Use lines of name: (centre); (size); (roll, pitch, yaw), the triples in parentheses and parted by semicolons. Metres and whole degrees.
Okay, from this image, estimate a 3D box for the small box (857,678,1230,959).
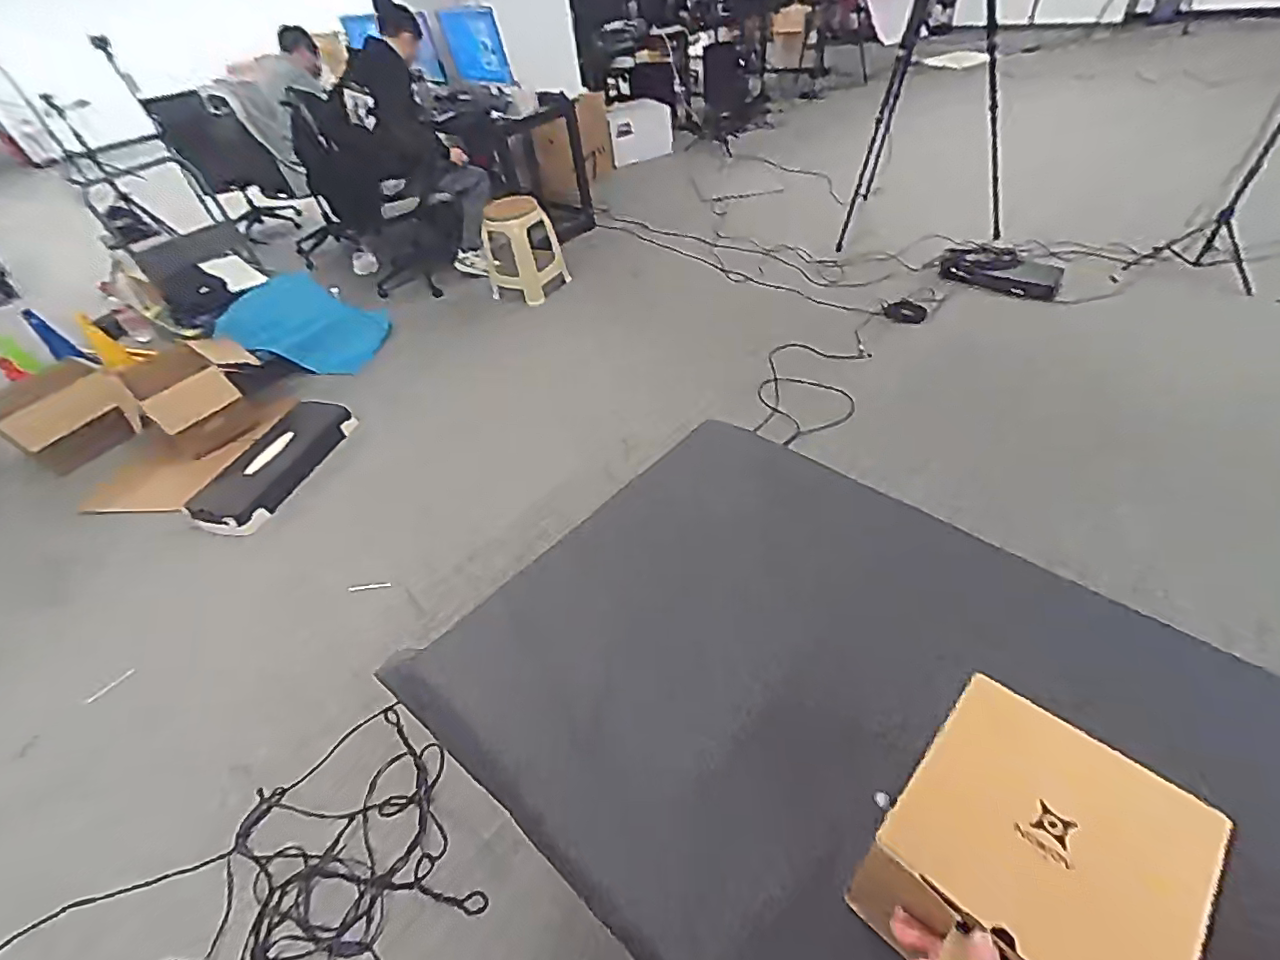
small box: (0.293, 0.304, 0.426); (0.179, 0.176, 0.168); (-36, 48, -28)
